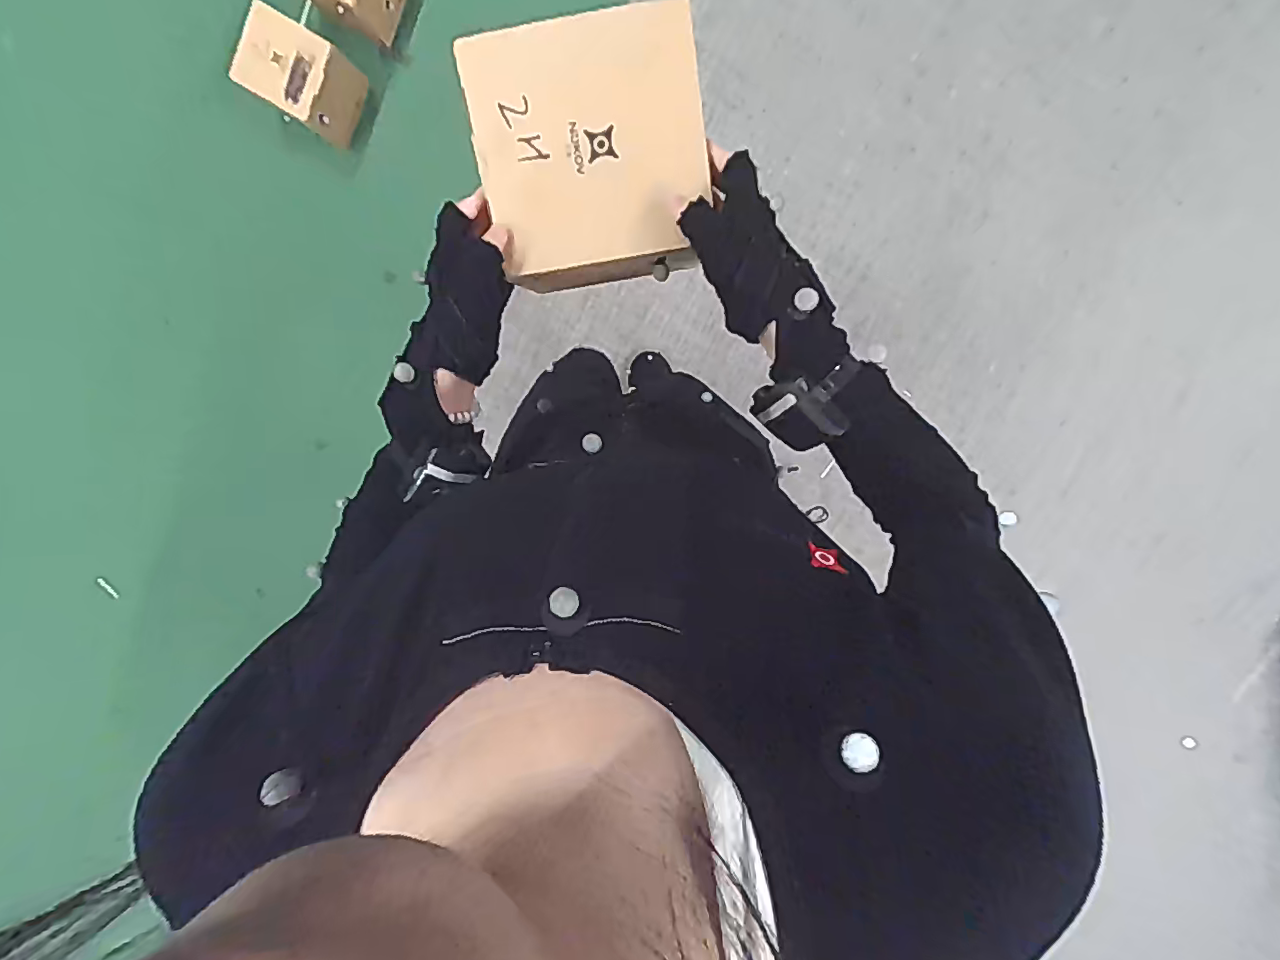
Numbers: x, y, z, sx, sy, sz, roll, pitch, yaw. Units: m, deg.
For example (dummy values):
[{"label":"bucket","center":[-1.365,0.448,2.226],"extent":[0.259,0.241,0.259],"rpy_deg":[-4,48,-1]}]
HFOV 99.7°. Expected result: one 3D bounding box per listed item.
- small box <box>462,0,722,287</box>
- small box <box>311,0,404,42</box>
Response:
[{"label":"small box","center":[-0.033,-0.275,0.483],"extent":[0.179,0.176,0.168],"rpy_deg":[-9,105,2]},{"label":"small box","center":[-0.629,-1.095,1.154],"extent":[0.179,0.176,0.168],"rpy_deg":[26,102,-8]}]
